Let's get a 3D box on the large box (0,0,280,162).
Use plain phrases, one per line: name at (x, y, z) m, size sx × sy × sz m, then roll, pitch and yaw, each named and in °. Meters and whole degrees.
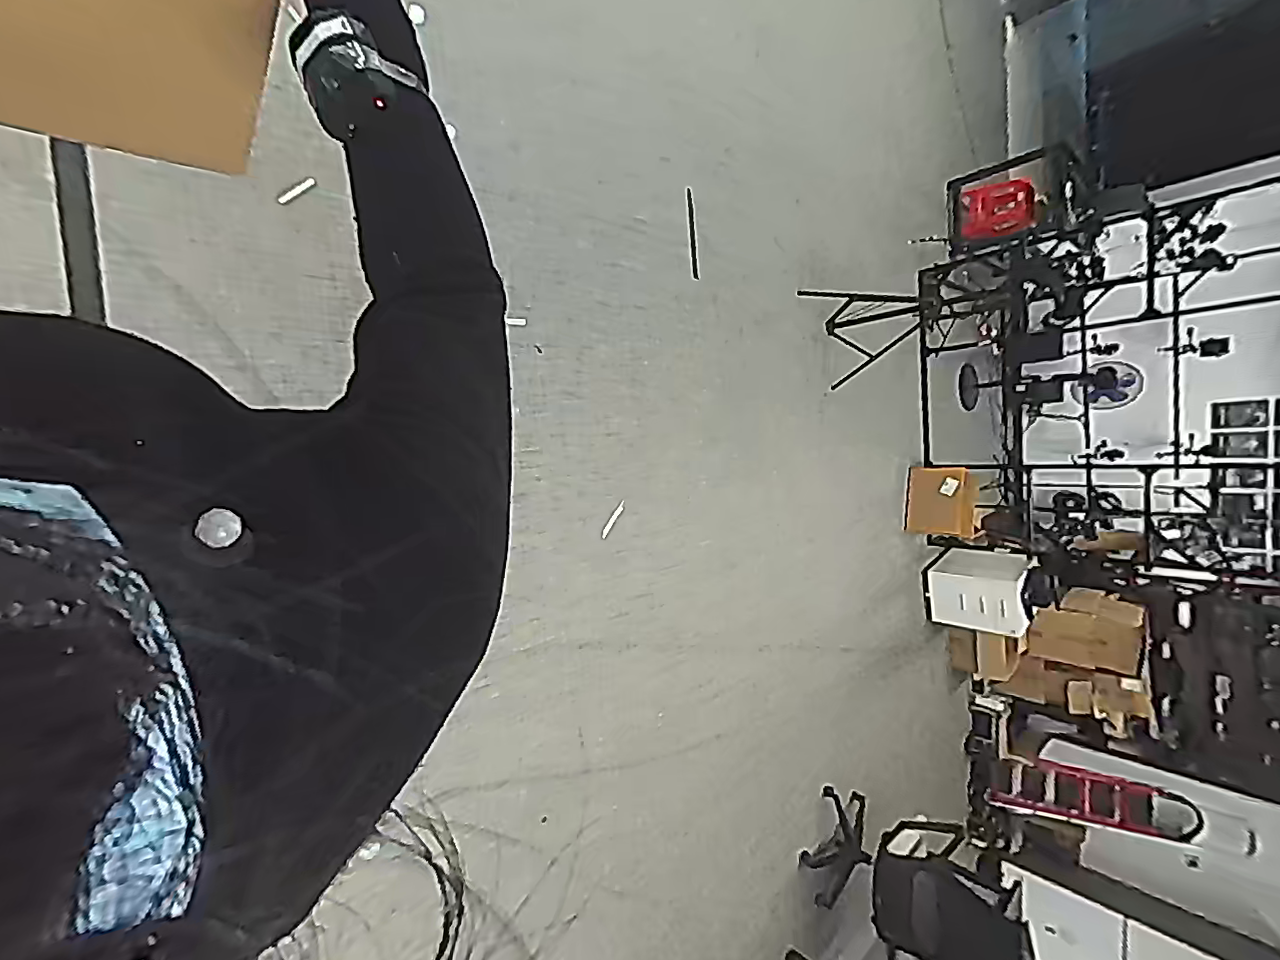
large box at (-0.511, -0.477, 0.355) m, size 0.408 × 0.320 × 0.320 m, roll -9°, pitch 92°, yaw -41°
